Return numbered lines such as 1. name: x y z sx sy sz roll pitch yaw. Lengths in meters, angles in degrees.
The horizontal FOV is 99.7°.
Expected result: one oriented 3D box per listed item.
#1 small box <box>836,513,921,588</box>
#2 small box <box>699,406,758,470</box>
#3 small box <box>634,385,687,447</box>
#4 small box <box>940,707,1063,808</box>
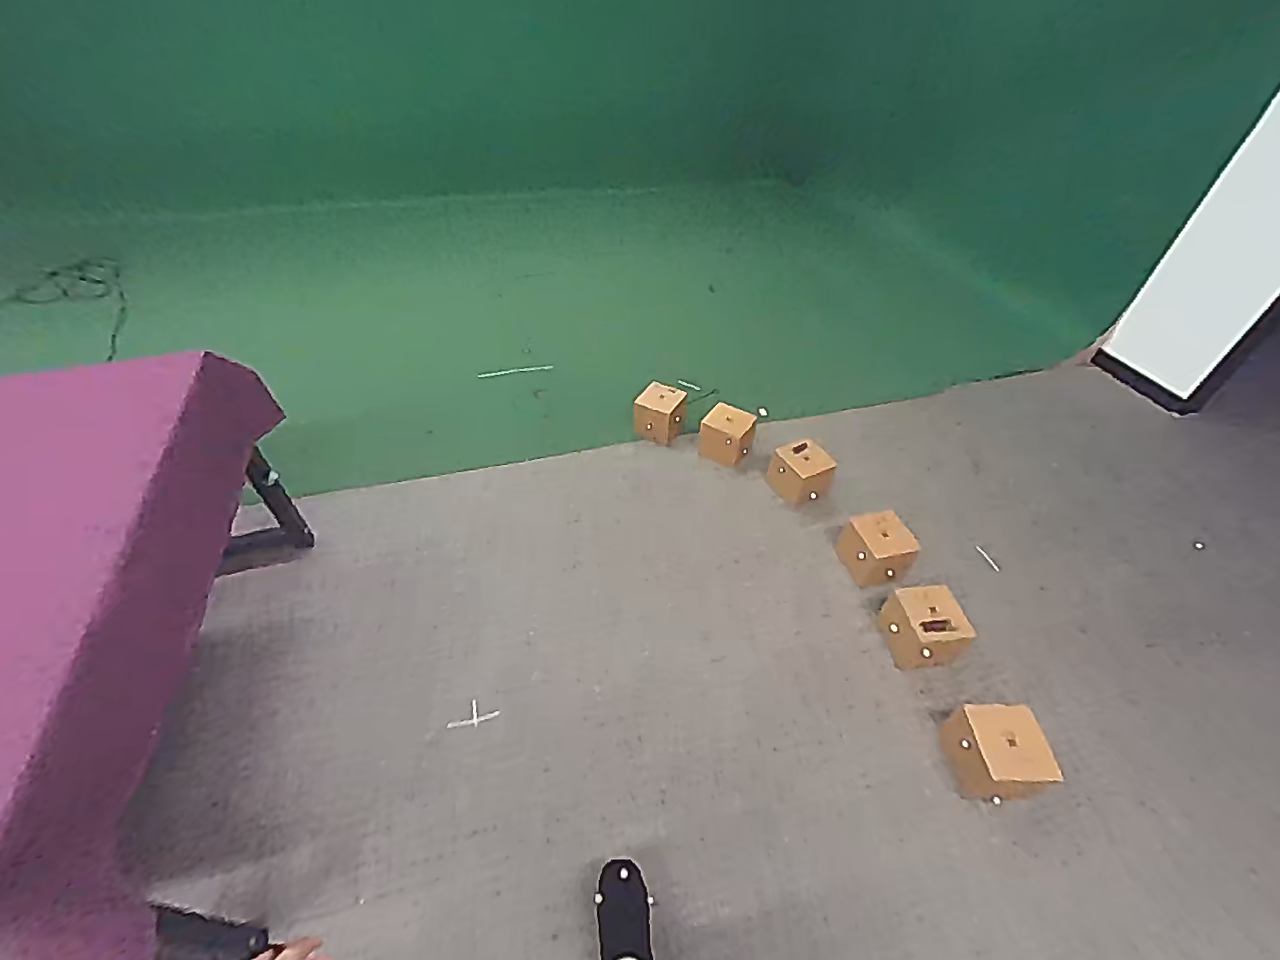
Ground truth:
1. small box: 0.780 0.239 1.785 0.168 0.176 0.179 -9 45 -11
2. small box: 0.353 -0.167 2.192 0.179 0.176 0.168 26 49 23
3. small box: 0.087 -0.267 2.283 0.168 0.176 0.179 22 49 20
4. small box: 0.878 0.686 1.337 0.168 0.176 0.179 1 45 1
